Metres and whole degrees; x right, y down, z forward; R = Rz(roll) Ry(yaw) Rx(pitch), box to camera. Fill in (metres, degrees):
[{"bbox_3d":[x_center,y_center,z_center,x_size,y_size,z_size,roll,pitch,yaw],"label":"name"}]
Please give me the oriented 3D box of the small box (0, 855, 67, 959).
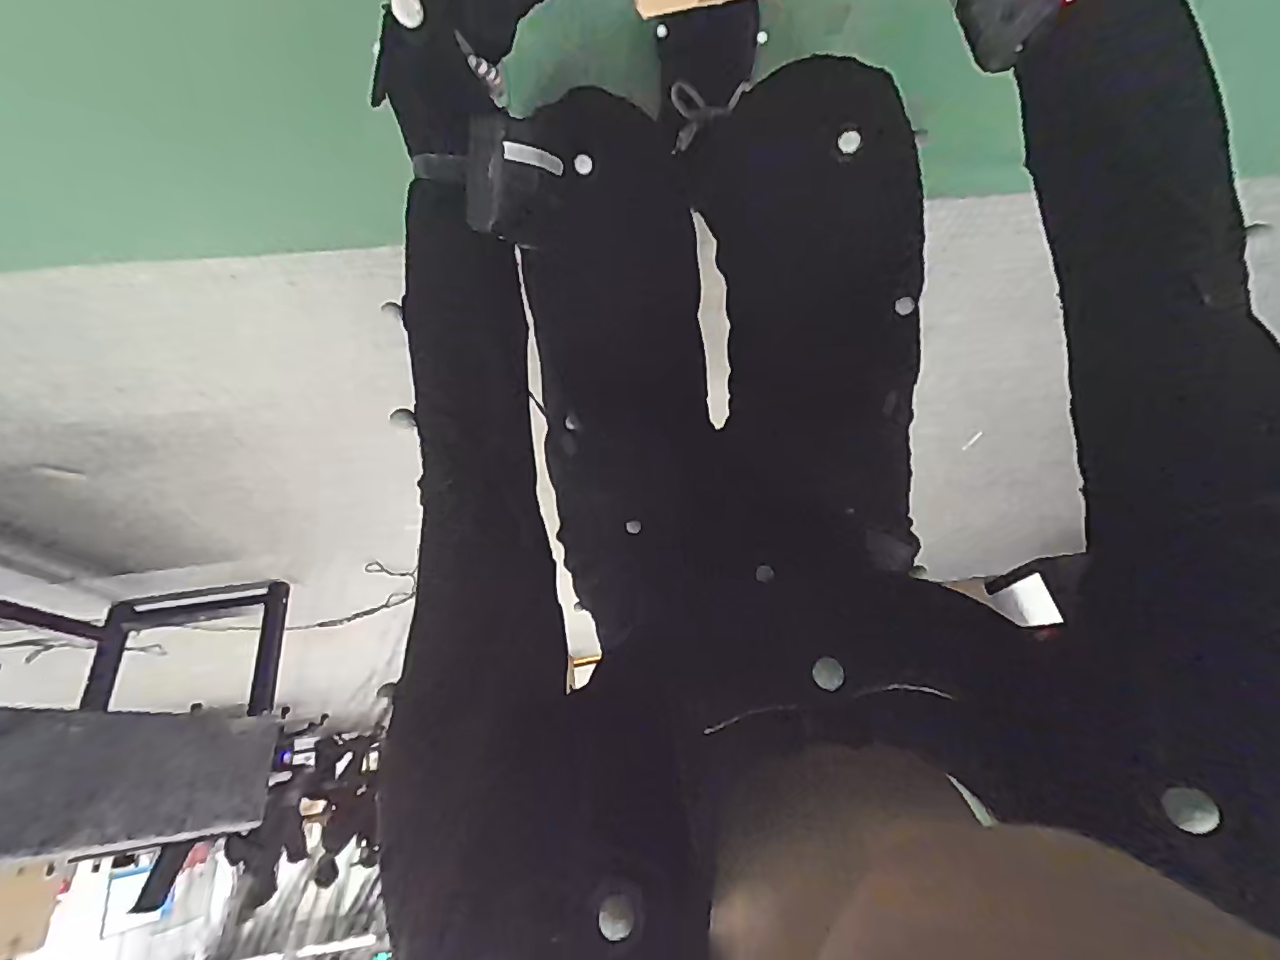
[{"bbox_3d":[-1.301,0.856,1.066,0.179,0.176,0.168,-6,152,-4],"label":"small box"}]
